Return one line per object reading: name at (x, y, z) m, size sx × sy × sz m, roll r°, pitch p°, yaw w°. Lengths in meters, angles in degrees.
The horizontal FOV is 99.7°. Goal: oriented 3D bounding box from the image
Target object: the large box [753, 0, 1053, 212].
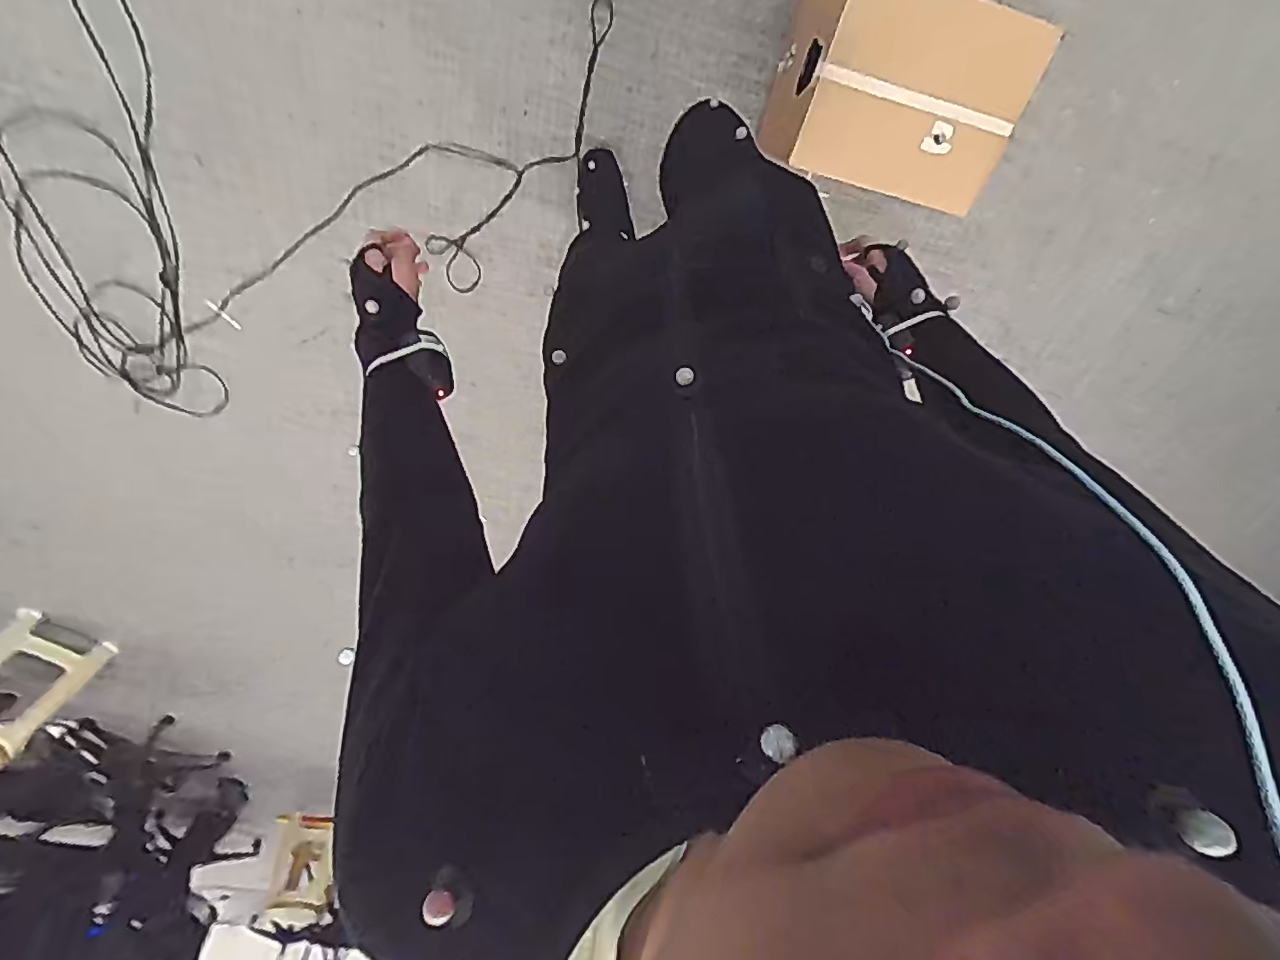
large box at (0.498, -0.790, 1.127) m, size 0.408 × 0.320 × 0.320 m, roll 9°, pitch 125°, yaw -10°
